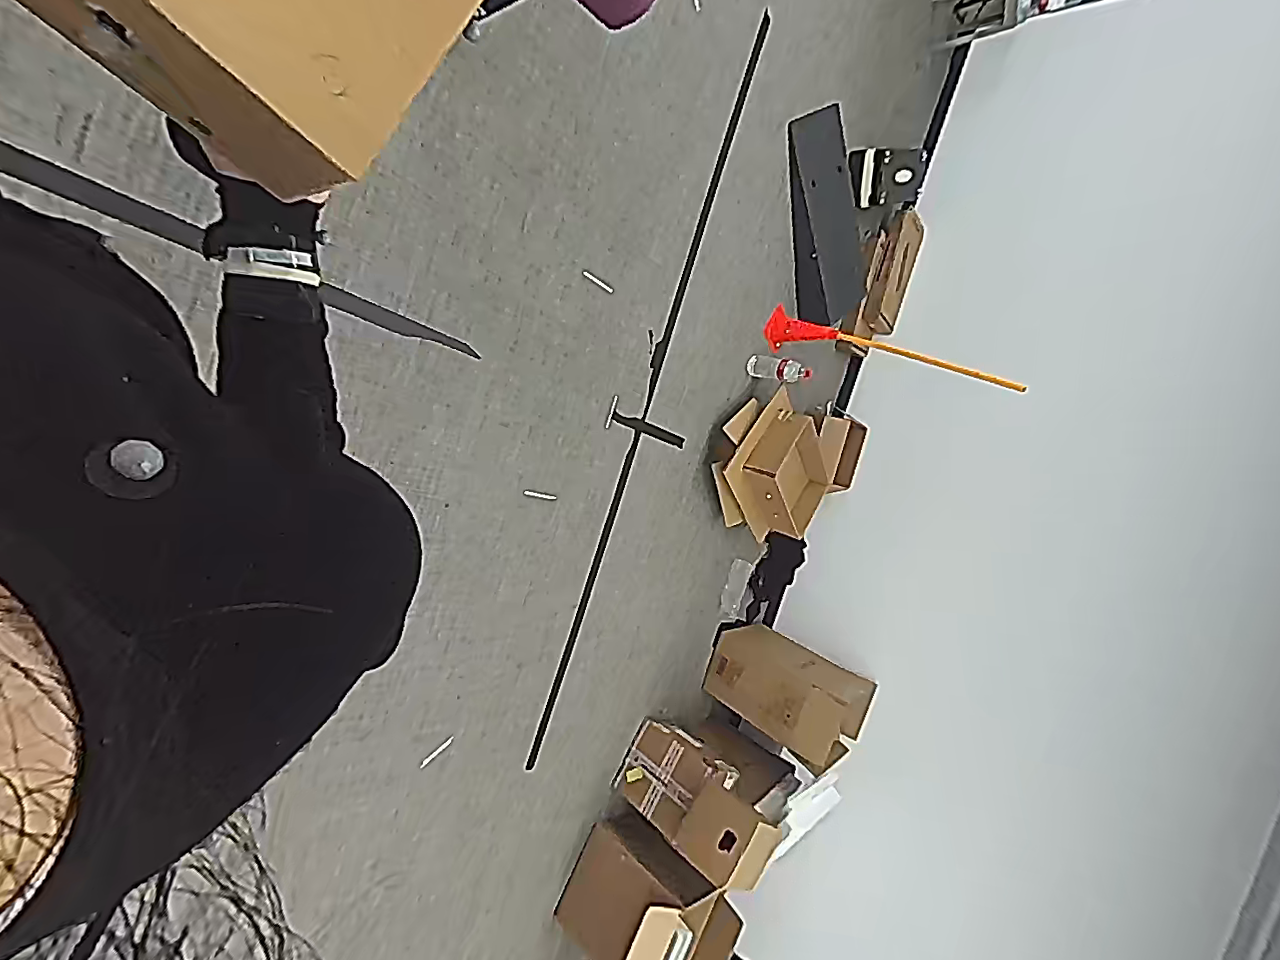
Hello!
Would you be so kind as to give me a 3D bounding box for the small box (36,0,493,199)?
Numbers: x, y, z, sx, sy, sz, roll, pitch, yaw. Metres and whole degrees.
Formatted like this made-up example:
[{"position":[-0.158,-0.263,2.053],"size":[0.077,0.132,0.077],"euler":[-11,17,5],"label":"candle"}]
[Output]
[{"position":[-0.211,-0.290,0.306],"size":[0.168,0.176,0.179],"euler":[36,78,-47],"label":"small box"}]
